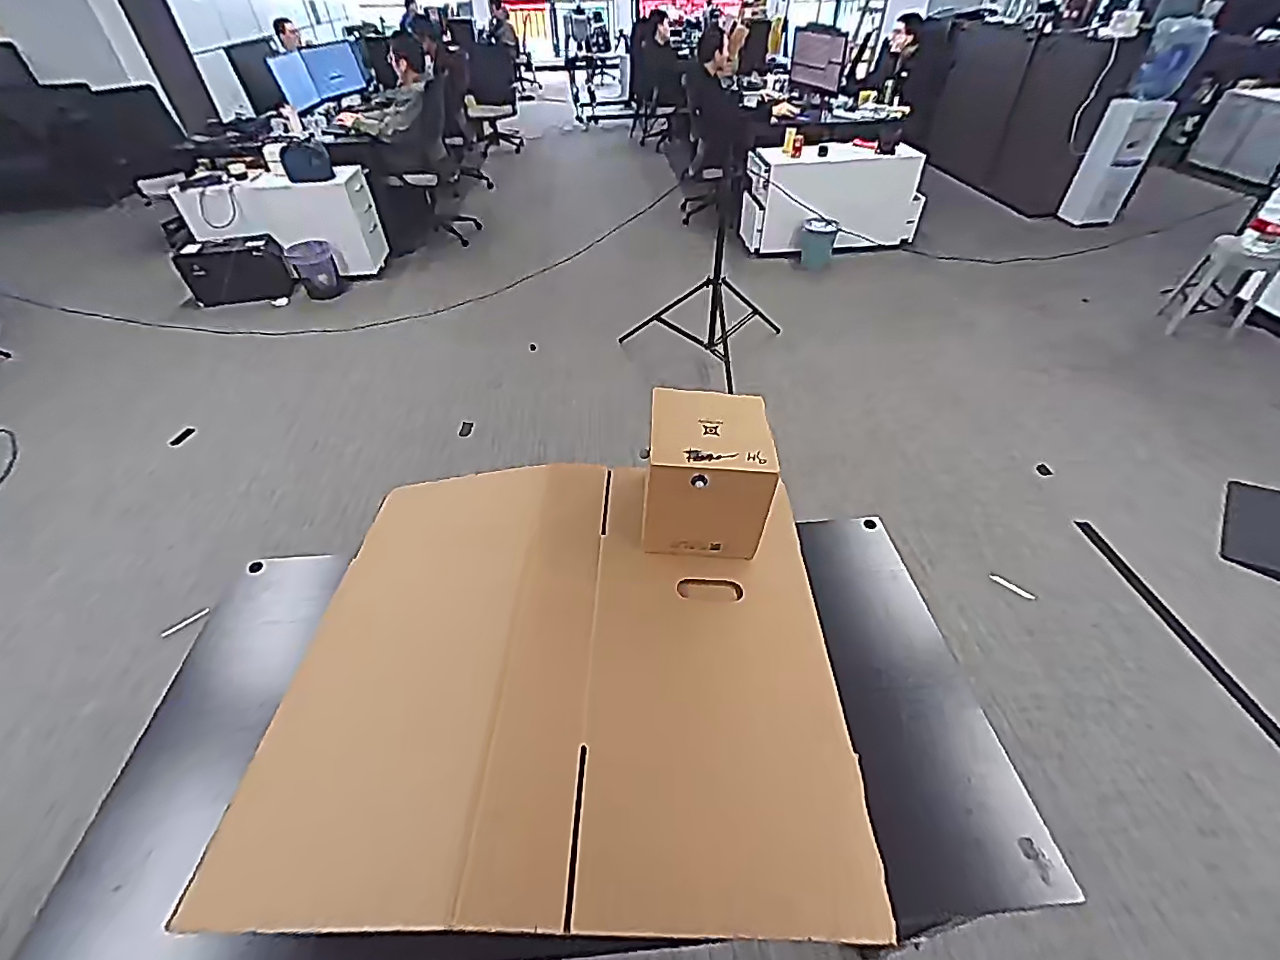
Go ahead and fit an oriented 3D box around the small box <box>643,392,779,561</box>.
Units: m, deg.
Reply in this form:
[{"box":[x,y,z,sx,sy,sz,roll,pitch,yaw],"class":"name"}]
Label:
[{"box":[0.091,-0.007,0.787,0.168,0.176,0.179,4,41,-1],"class":"small box"}]
